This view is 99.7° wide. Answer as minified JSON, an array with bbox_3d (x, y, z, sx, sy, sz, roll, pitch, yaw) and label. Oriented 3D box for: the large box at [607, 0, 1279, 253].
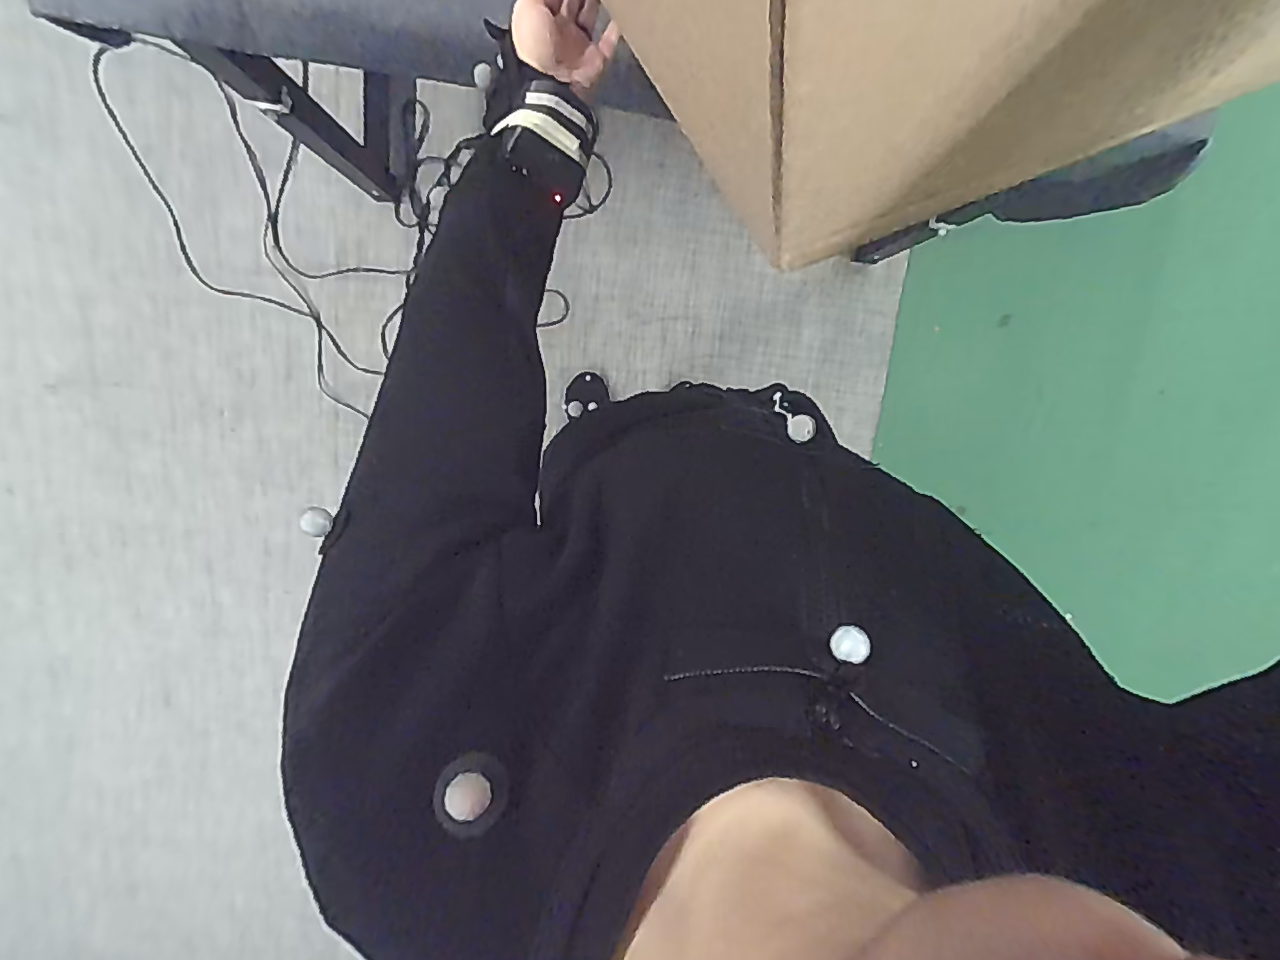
[{"bbox_3d":[0.109,-0.378,0.197,0.320,0.320,0.408,-23,62,2],"label":"large box"}]
